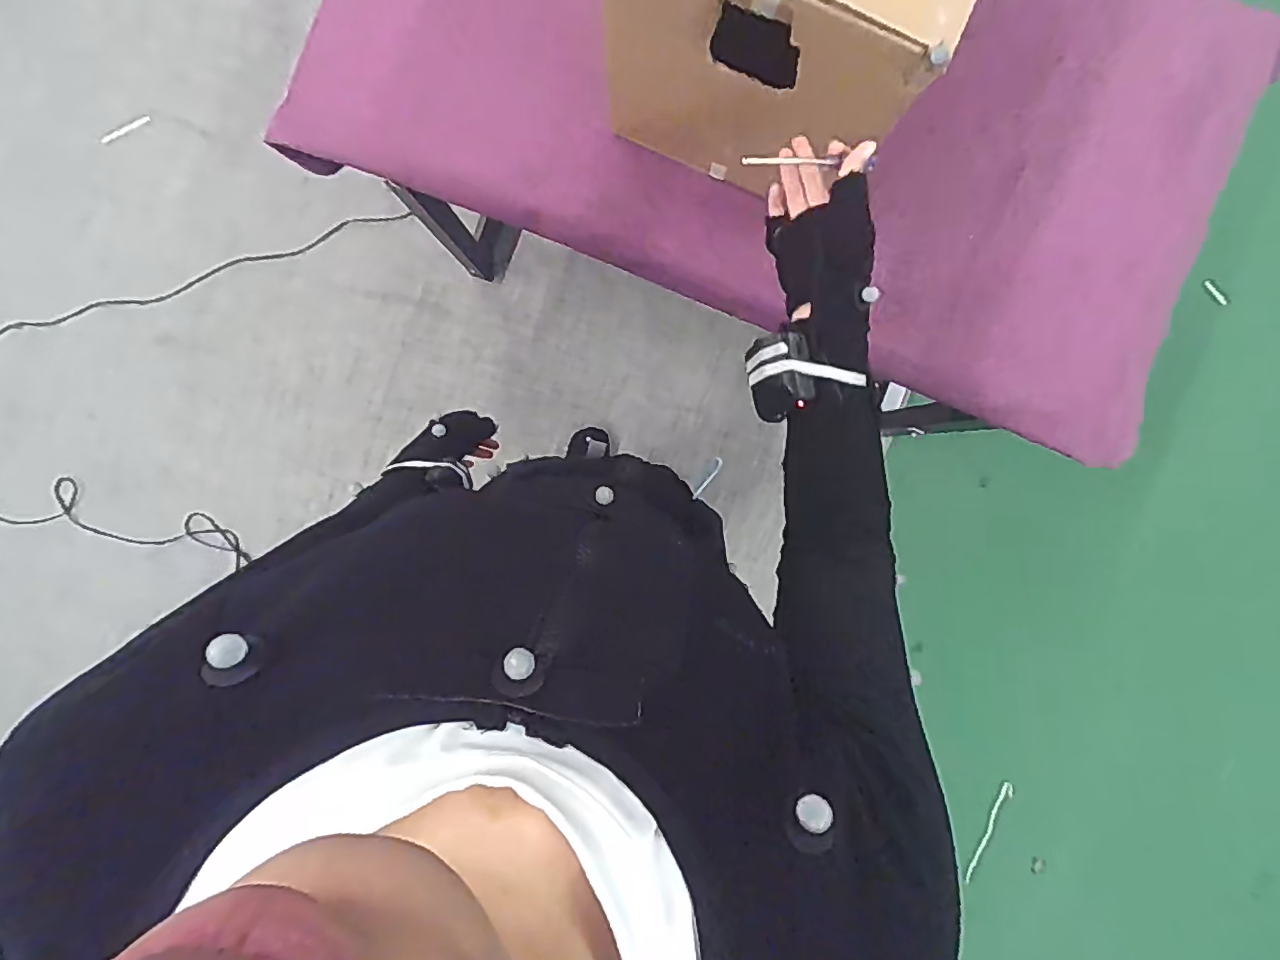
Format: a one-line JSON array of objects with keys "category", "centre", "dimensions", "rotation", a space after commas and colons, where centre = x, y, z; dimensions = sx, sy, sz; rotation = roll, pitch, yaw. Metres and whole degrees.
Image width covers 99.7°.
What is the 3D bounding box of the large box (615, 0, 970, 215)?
[{"category": "large box", "centre": [0.185, -0.595, 0.591], "dimensions": [0.320, 0.320, 0.408], "rotation": [23, 94, -2]}]
